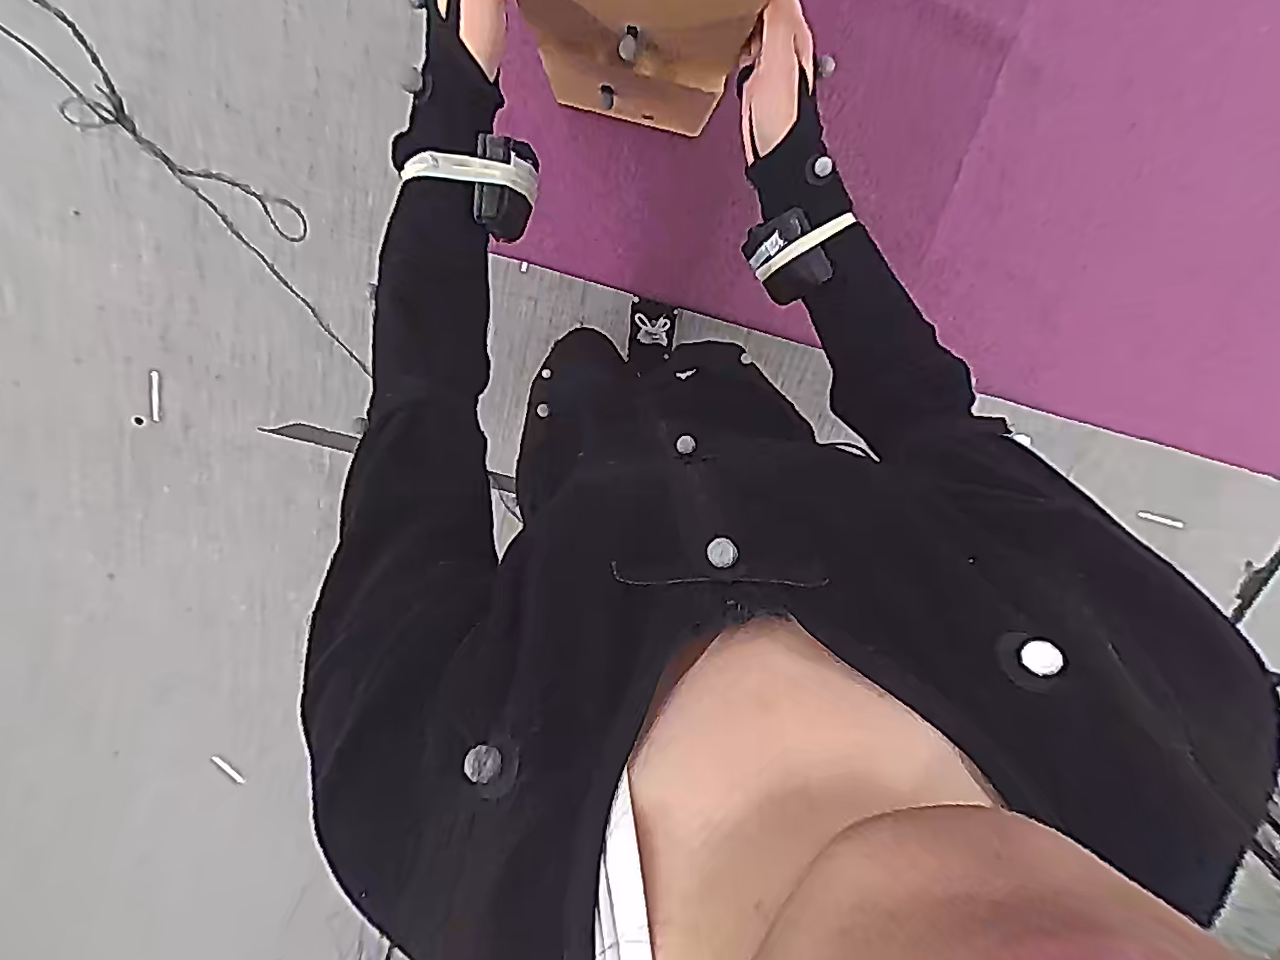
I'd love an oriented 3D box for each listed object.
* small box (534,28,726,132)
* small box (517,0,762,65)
[{"bbox_3d":[0.005,-0.459,0.511,0.168,0.176,0.179,11,109,-6],"label":"small box"},{"bbox_3d":[0.006,-0.409,0.353,0.179,0.176,0.168,8,108,-6],"label":"small box"}]
